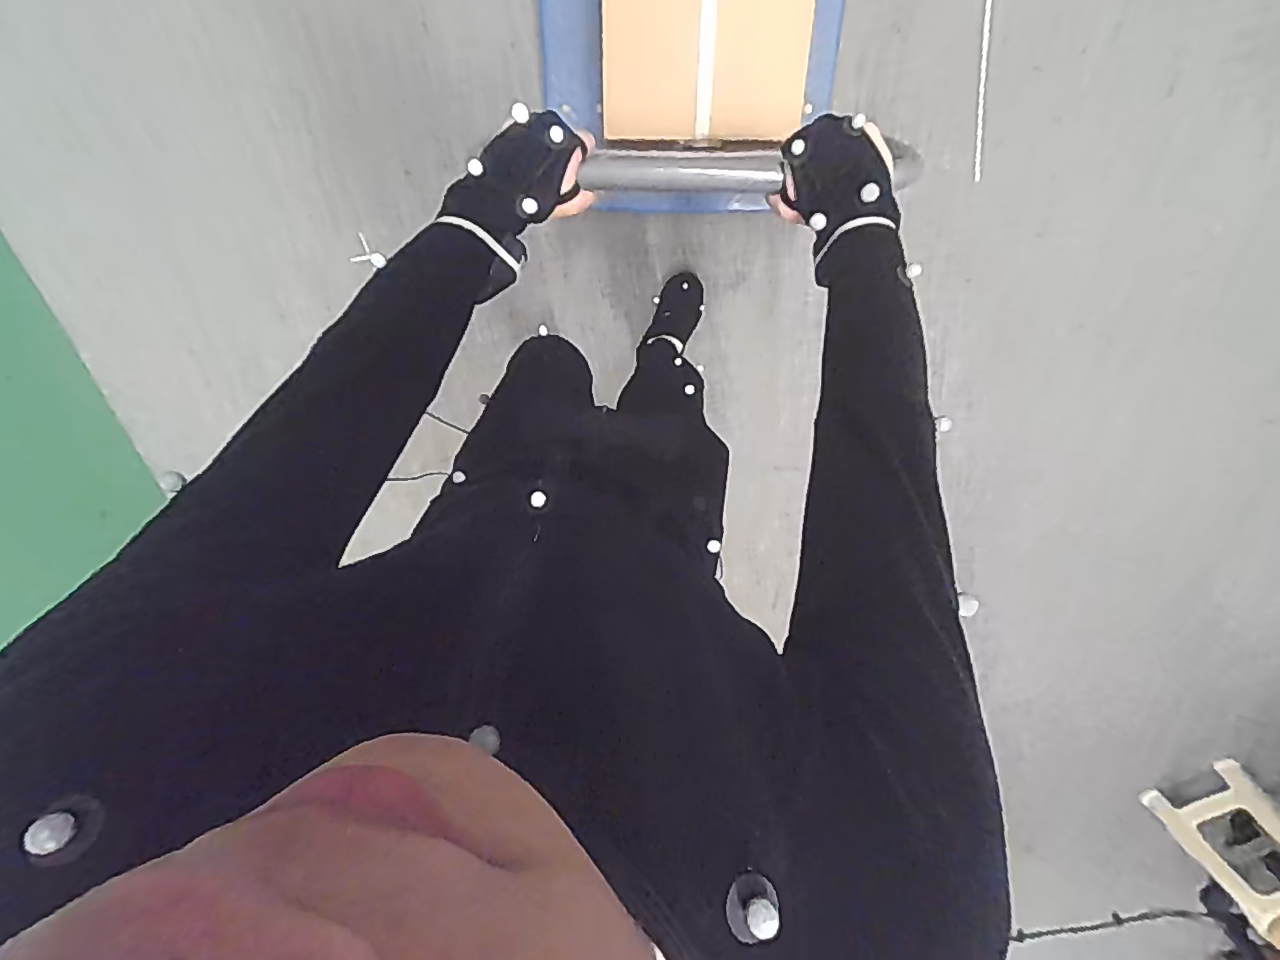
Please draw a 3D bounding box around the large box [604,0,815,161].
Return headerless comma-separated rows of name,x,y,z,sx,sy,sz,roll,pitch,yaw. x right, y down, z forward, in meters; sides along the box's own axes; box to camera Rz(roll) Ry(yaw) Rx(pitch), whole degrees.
large box,0.112,-0.790,0.918,0.320,0.320,0.408,2,115,2
